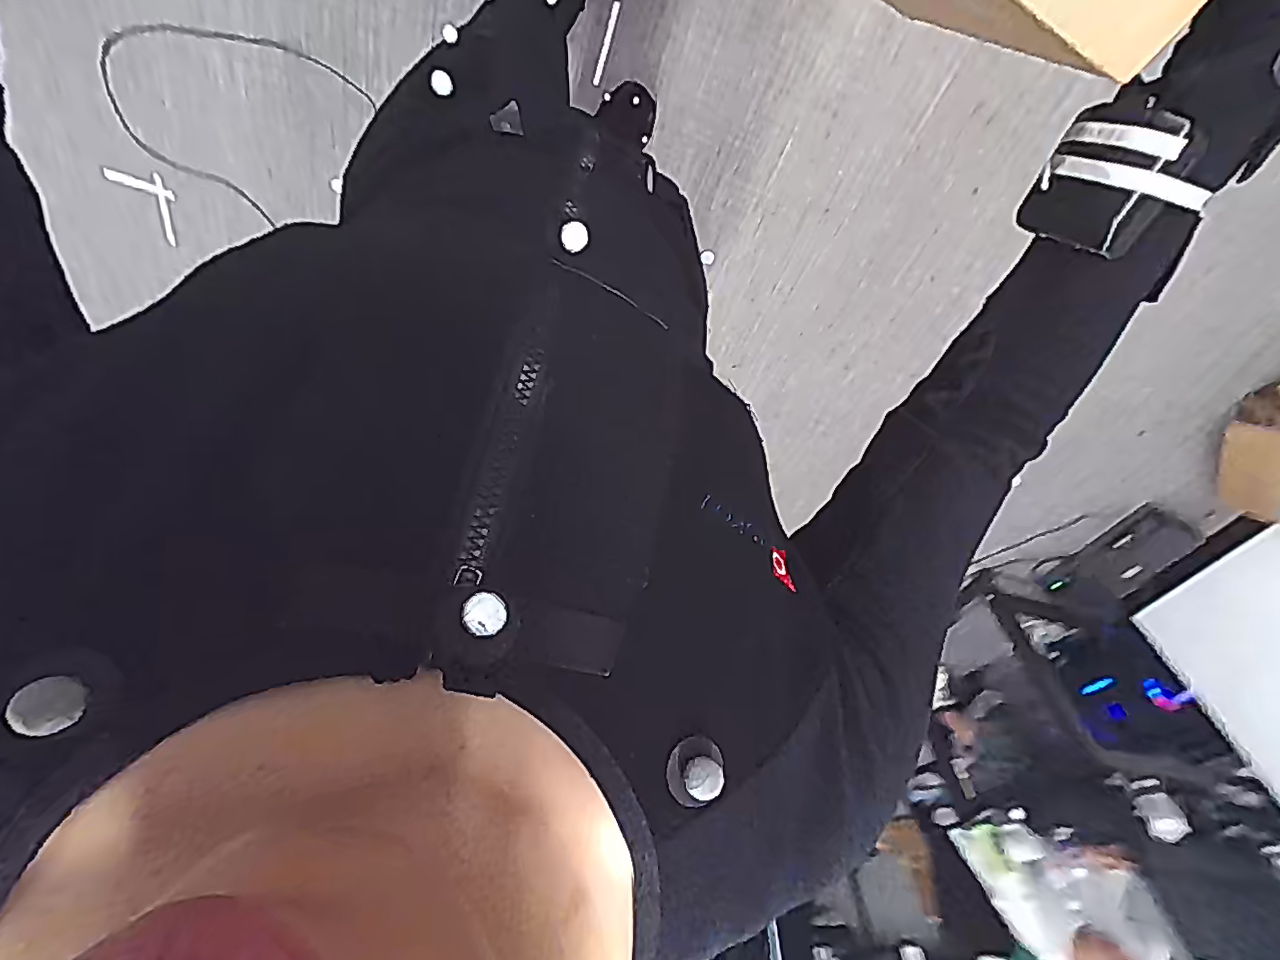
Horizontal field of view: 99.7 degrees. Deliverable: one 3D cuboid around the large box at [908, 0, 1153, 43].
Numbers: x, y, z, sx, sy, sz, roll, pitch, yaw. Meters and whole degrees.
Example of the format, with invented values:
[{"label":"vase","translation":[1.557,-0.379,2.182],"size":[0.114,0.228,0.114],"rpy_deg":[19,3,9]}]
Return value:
[{"label":"large box","translation":[0.120,-0.479,0.227],"size":[0.408,0.320,0.320],"rpy_deg":[18,133,-17]}]
